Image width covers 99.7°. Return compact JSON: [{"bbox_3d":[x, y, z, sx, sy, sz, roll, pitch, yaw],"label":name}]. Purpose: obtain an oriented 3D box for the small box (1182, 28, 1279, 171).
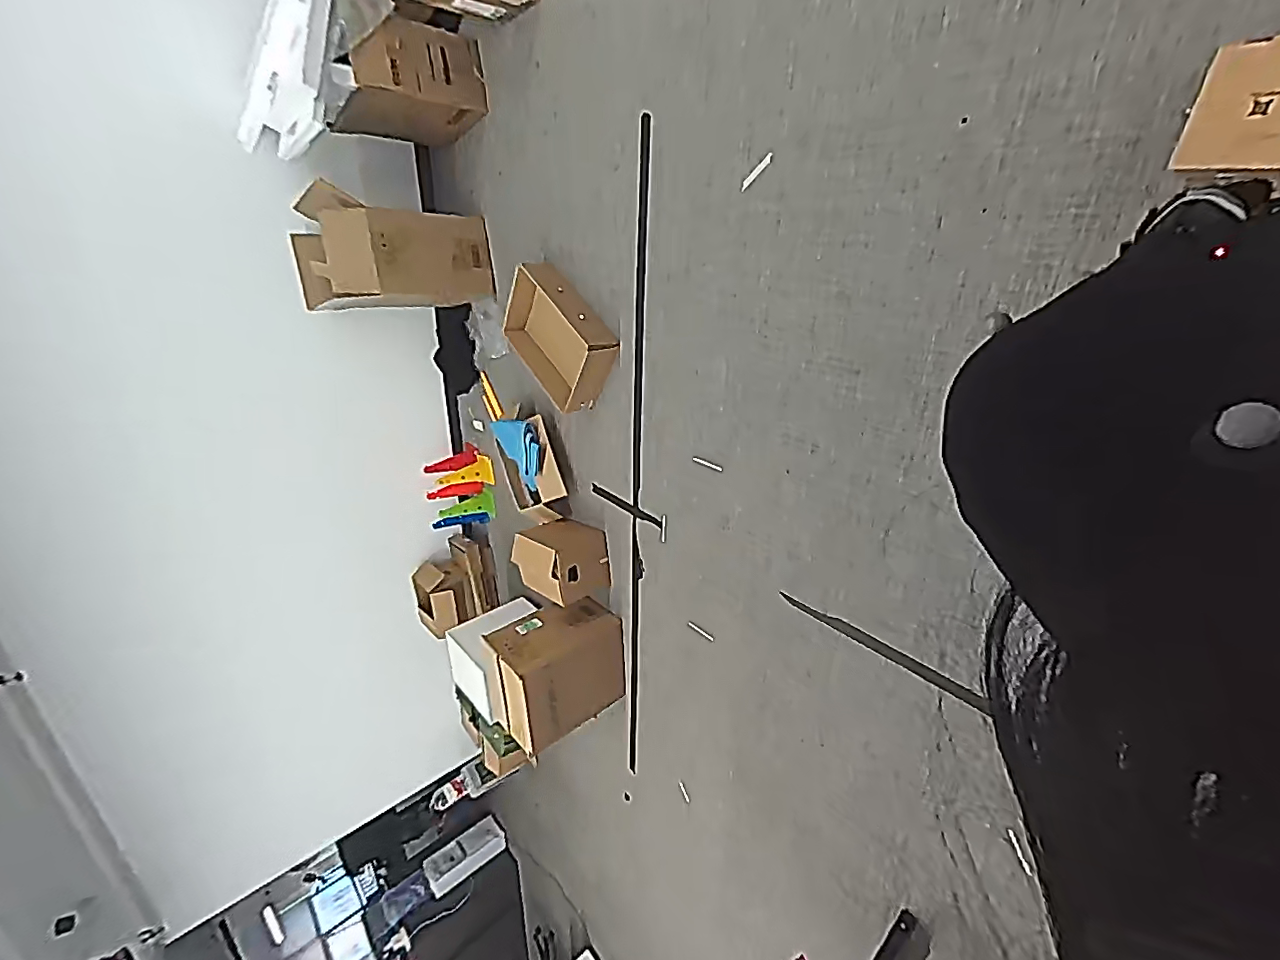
[{"bbox_3d":[1.032,-0.607,0.871,0.168,0.176,0.179,30,128,43],"label":"small box"}]
